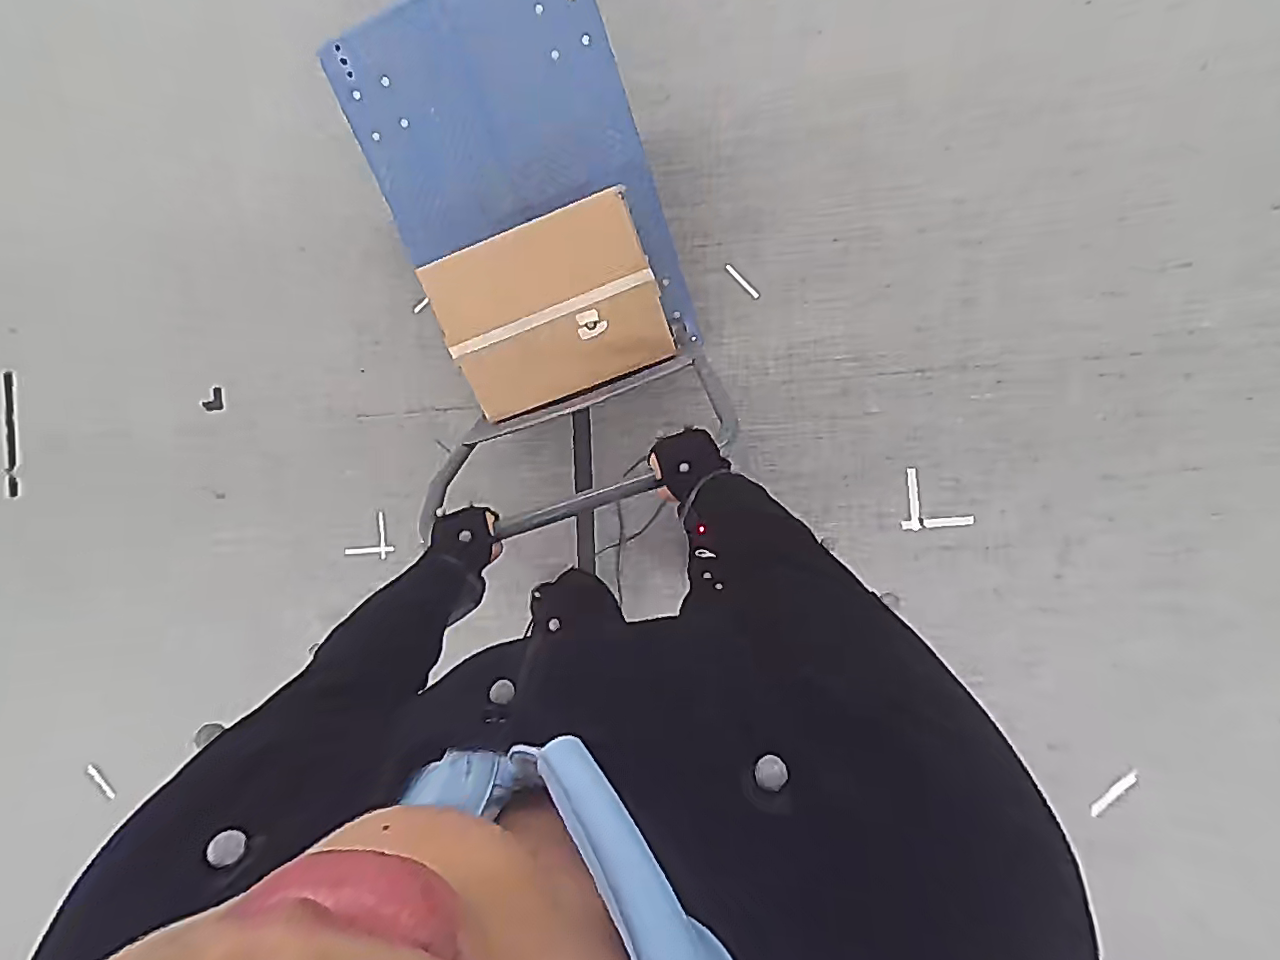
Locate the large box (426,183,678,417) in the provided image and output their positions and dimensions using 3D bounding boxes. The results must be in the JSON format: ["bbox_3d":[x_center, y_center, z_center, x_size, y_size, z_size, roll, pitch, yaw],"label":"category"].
[{"bbox_3d":[-0.166,-0.377,1.170,0.408,0.320,0.320,-20,110,6],"label":"large box"}]
